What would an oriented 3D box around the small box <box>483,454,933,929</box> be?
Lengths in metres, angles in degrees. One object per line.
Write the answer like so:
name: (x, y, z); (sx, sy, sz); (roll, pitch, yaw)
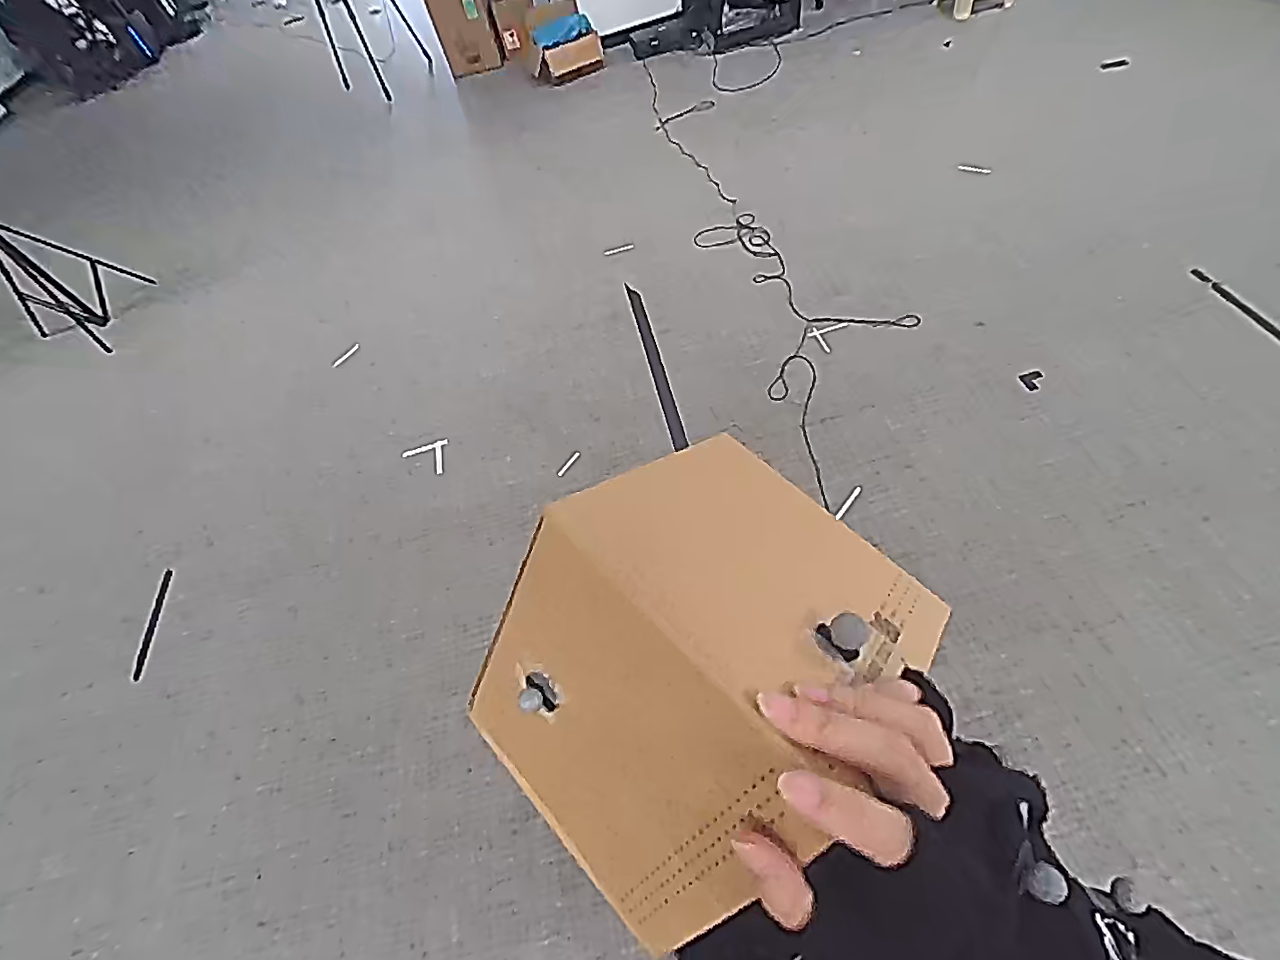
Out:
small box: (0.035, 0.116, 0.328); (0.176, 0.179, 0.168); (40, 37, 20)
